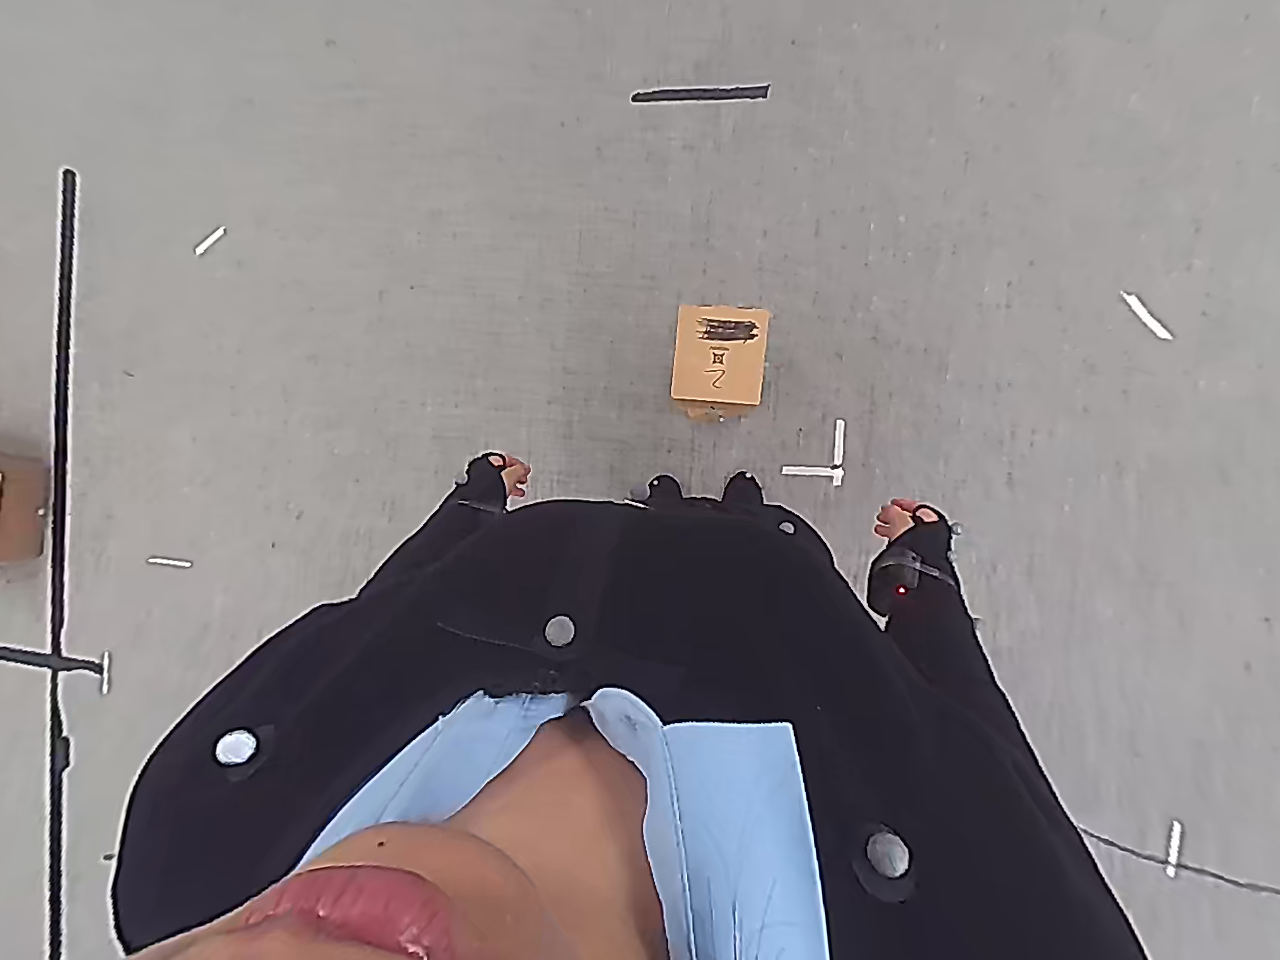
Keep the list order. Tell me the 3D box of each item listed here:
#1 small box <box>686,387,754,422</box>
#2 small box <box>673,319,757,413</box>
[{"bbox_3d":[0.194,-0.251,1.387,0.168,0.176,0.179,-7,91,8],"label":"small box"},{"bbox_3d":[0.167,-0.253,1.226,0.168,0.176,0.179,5,93,7],"label":"small box"}]
